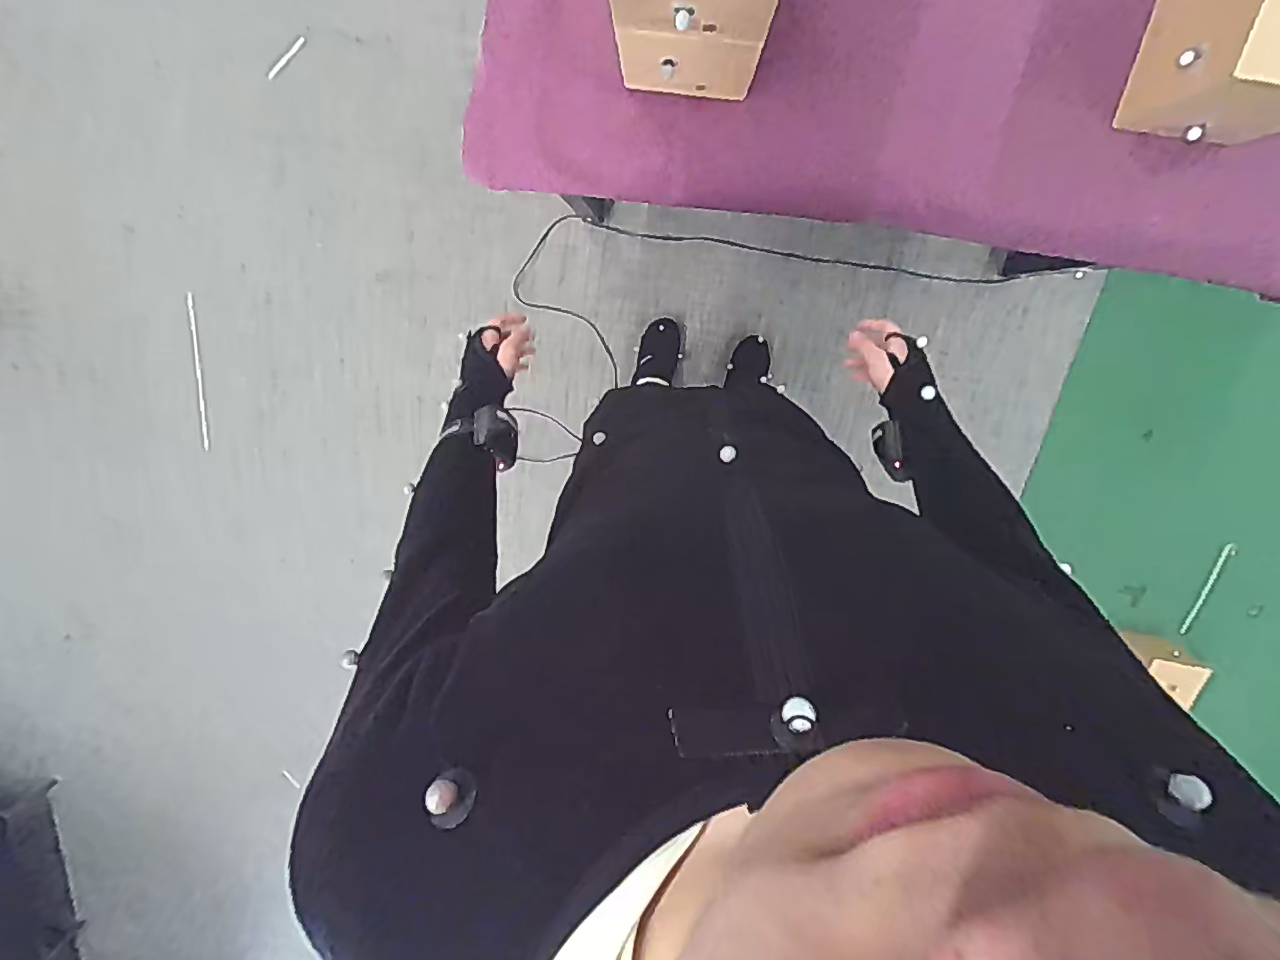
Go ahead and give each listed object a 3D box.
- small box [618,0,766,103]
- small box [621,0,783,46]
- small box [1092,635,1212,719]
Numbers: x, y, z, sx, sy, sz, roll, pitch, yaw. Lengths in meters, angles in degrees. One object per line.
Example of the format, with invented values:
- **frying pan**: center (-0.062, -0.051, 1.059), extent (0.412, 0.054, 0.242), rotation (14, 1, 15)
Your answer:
- **small box**: center (0.070, -0.581, 0.641), extent (0.168, 0.176, 0.179), rotation (7, 106, 1)
- **small box**: center (0.064, -0.538, 0.483), extent (0.168, 0.176, 0.179), rotation (7, 107, 1)
- **small box**: center (1.568, 0.601, 1.667), extent (0.179, 0.176, 0.168), rotation (11, 106, 0)
